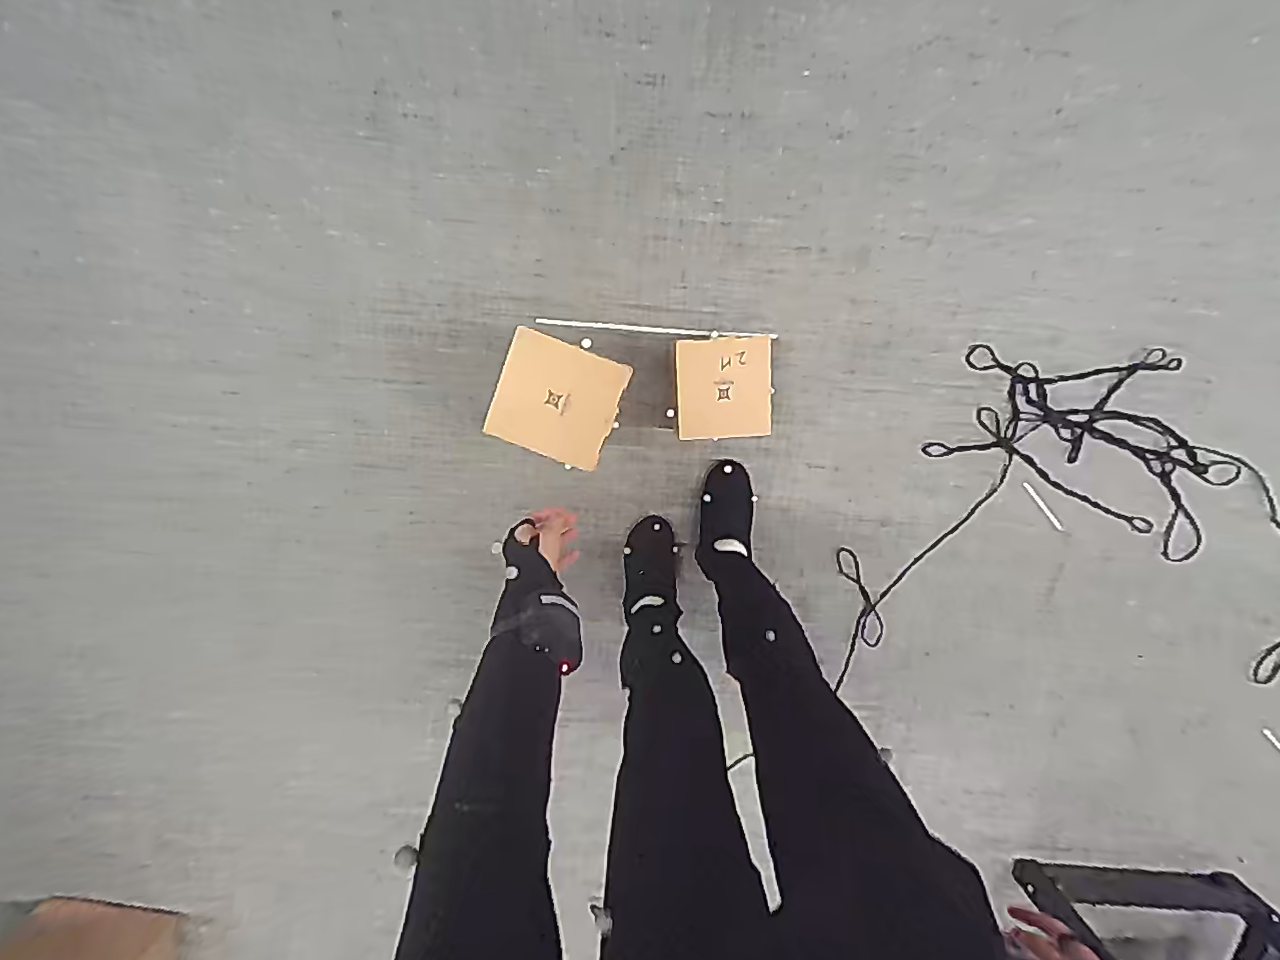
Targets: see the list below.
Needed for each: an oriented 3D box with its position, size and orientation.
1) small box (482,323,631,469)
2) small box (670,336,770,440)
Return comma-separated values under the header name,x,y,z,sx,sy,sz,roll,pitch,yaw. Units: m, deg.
name,x,y,z,sx,sy,sz,roll,pitch,yaw
small box,-0.124,-0.133,0.860,0.179,0.176,0.168,21,100,-6
small box,0.144,-0.175,1.017,0.168,0.176,0.179,-3,102,0
